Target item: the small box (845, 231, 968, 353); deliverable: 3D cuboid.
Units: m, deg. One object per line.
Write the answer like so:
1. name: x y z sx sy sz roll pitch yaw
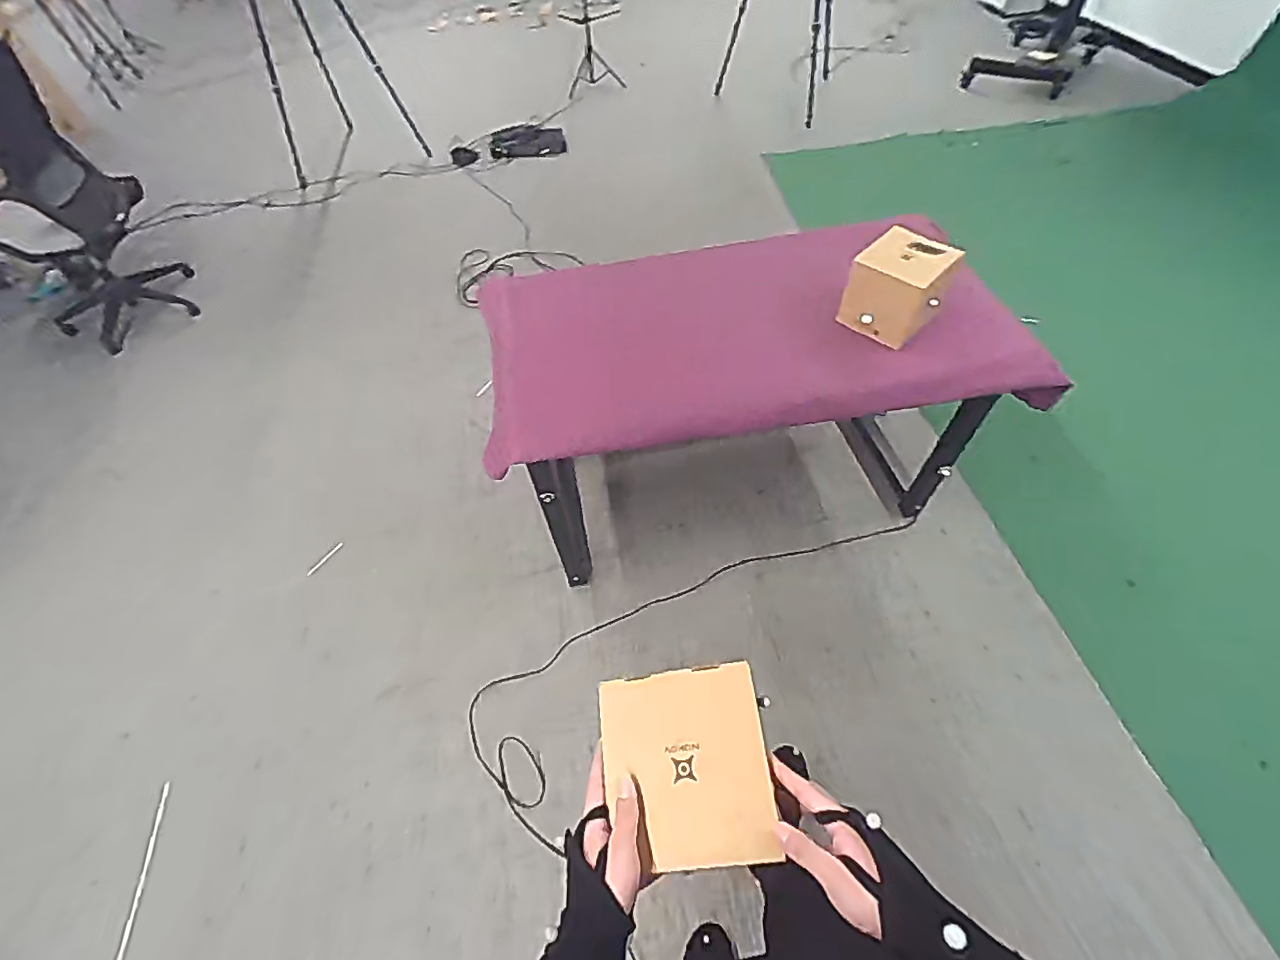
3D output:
1. small box: 0.593 -0.424 1.227 0.179 0.176 0.168 -40 61 -21

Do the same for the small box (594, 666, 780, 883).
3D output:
1. small box: 0.056 0.315 0.596 0.168 0.176 0.179 -11 62 8
